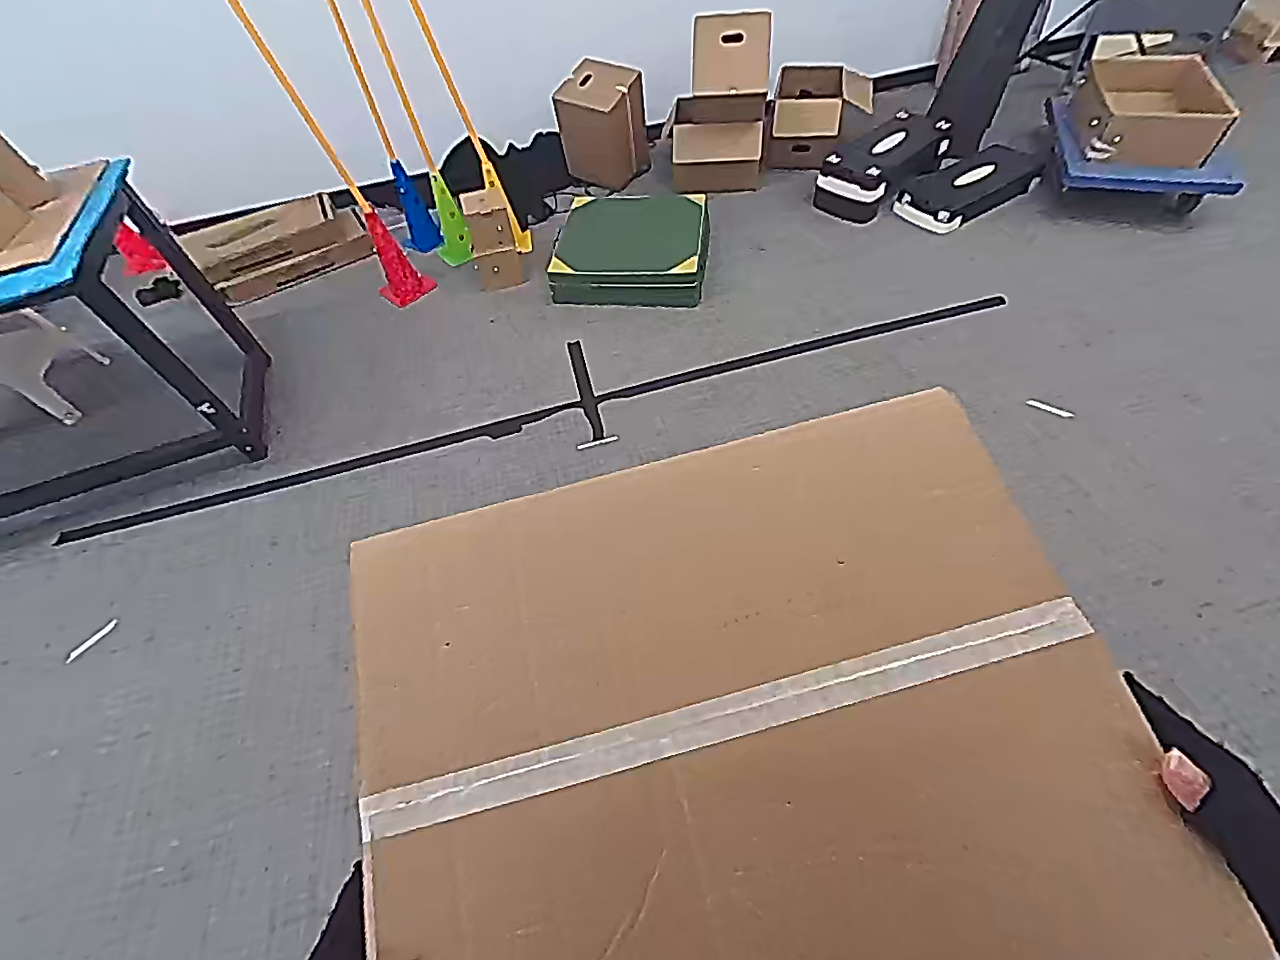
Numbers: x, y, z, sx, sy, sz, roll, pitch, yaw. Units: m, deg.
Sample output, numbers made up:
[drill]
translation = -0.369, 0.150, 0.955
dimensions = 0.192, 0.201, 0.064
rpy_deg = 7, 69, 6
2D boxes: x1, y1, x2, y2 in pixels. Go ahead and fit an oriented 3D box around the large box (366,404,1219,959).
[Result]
[large box]
translation = 0.061, 0.190, 0.442
dimensions = 0.408, 0.320, 0.320
rpy_deg = -15, 66, -1
